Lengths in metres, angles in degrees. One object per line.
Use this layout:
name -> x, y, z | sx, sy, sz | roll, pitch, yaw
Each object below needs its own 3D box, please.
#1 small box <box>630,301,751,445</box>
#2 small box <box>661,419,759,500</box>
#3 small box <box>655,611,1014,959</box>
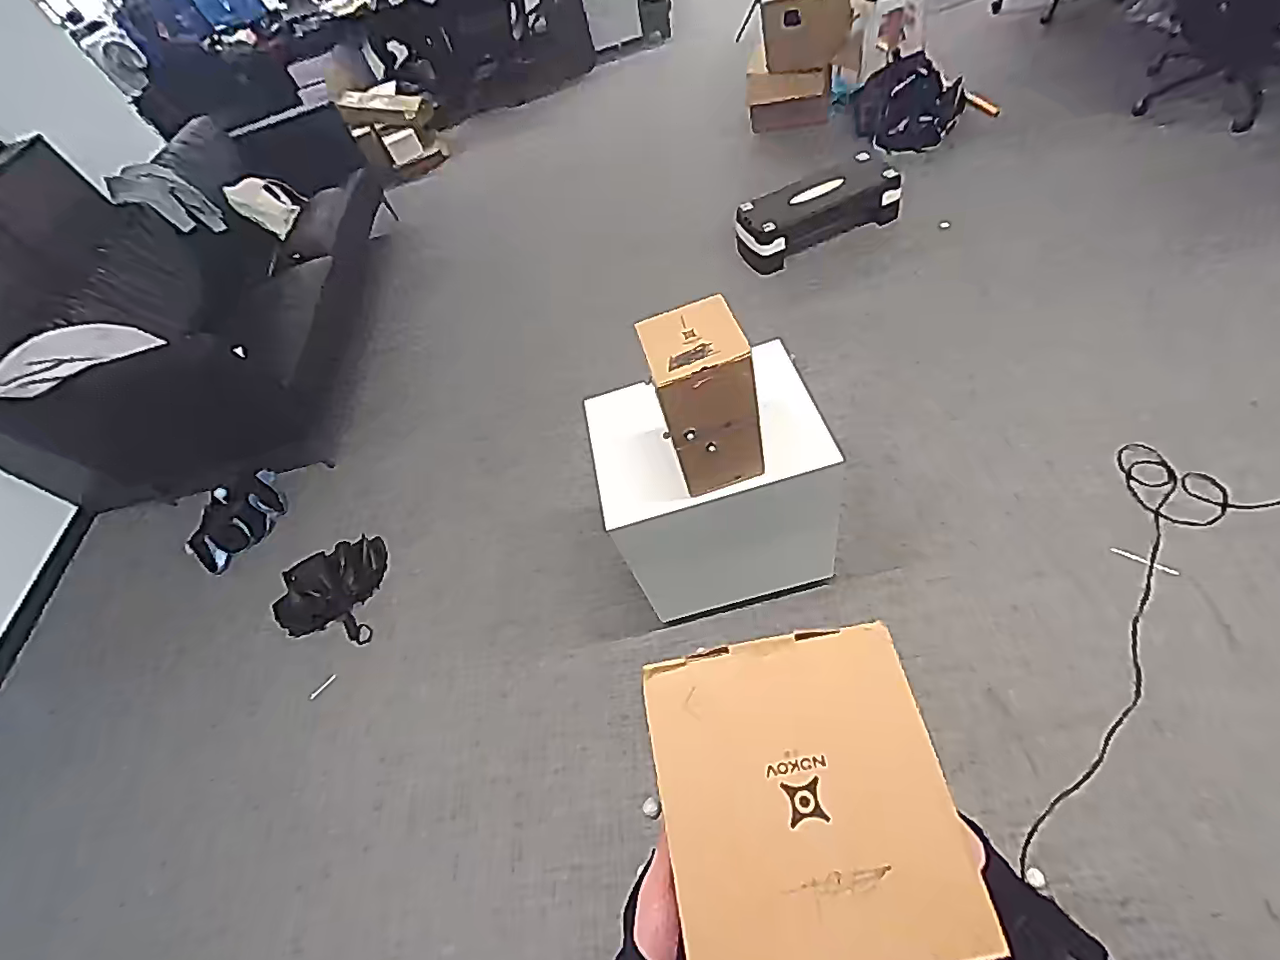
small box -> 0.095, -0.186, 0.985 | 0.168, 0.176, 0.179 | -19, 50, 3
small box -> 0.135, -0.090, 1.113 | 0.168, 0.176, 0.179 | -20, 50, 3
small box -> 0.106, 0.211, 0.387 | 0.168, 0.176, 0.179 | -11, 63, -1
